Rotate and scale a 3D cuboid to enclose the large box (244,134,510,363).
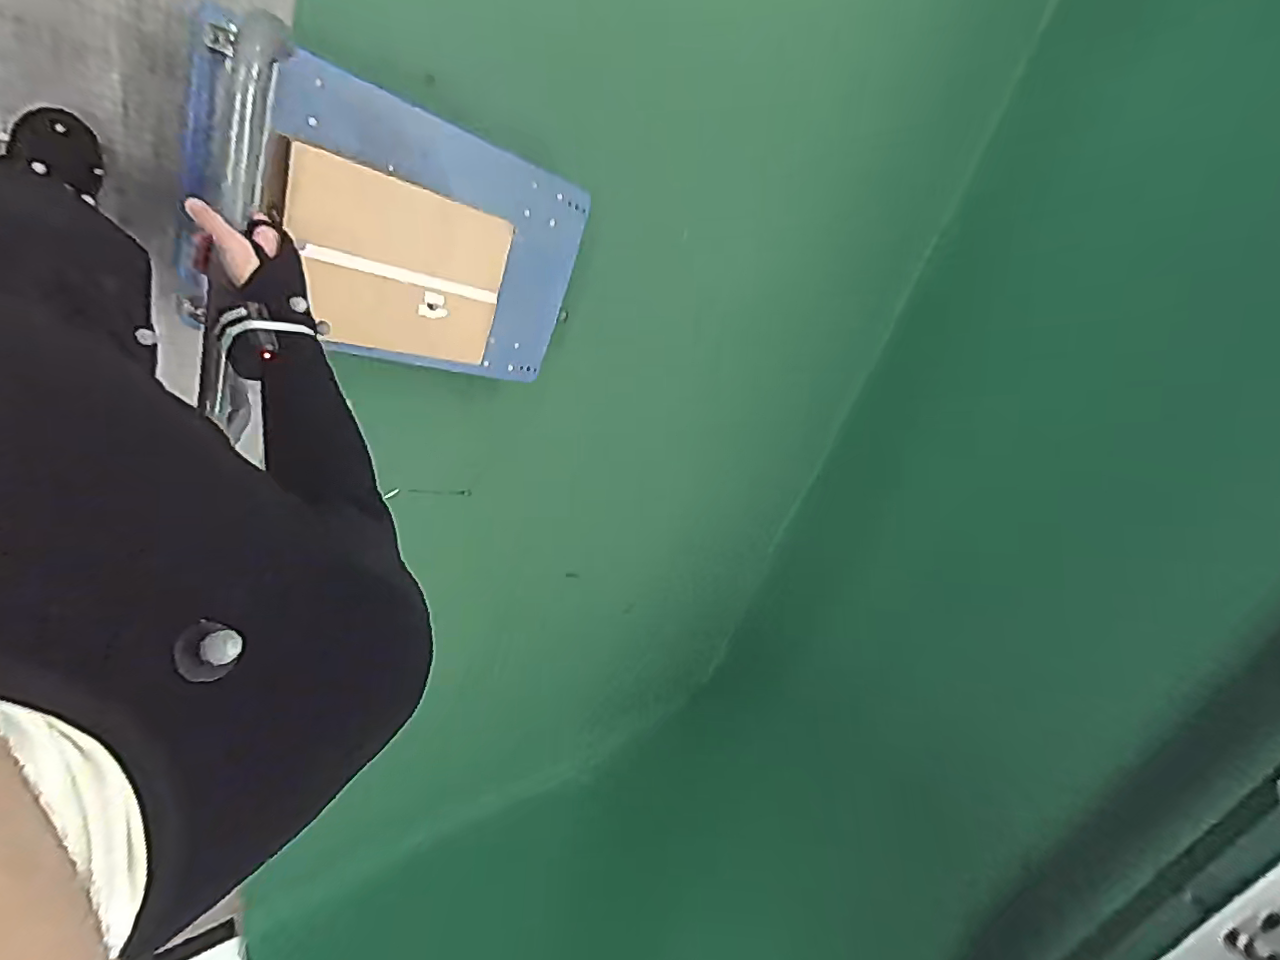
[{"bbox_3d":[-0.553,-0.468,1.132,0.408,0.320,0.320,0,119,-46],"label":"large box"}]
